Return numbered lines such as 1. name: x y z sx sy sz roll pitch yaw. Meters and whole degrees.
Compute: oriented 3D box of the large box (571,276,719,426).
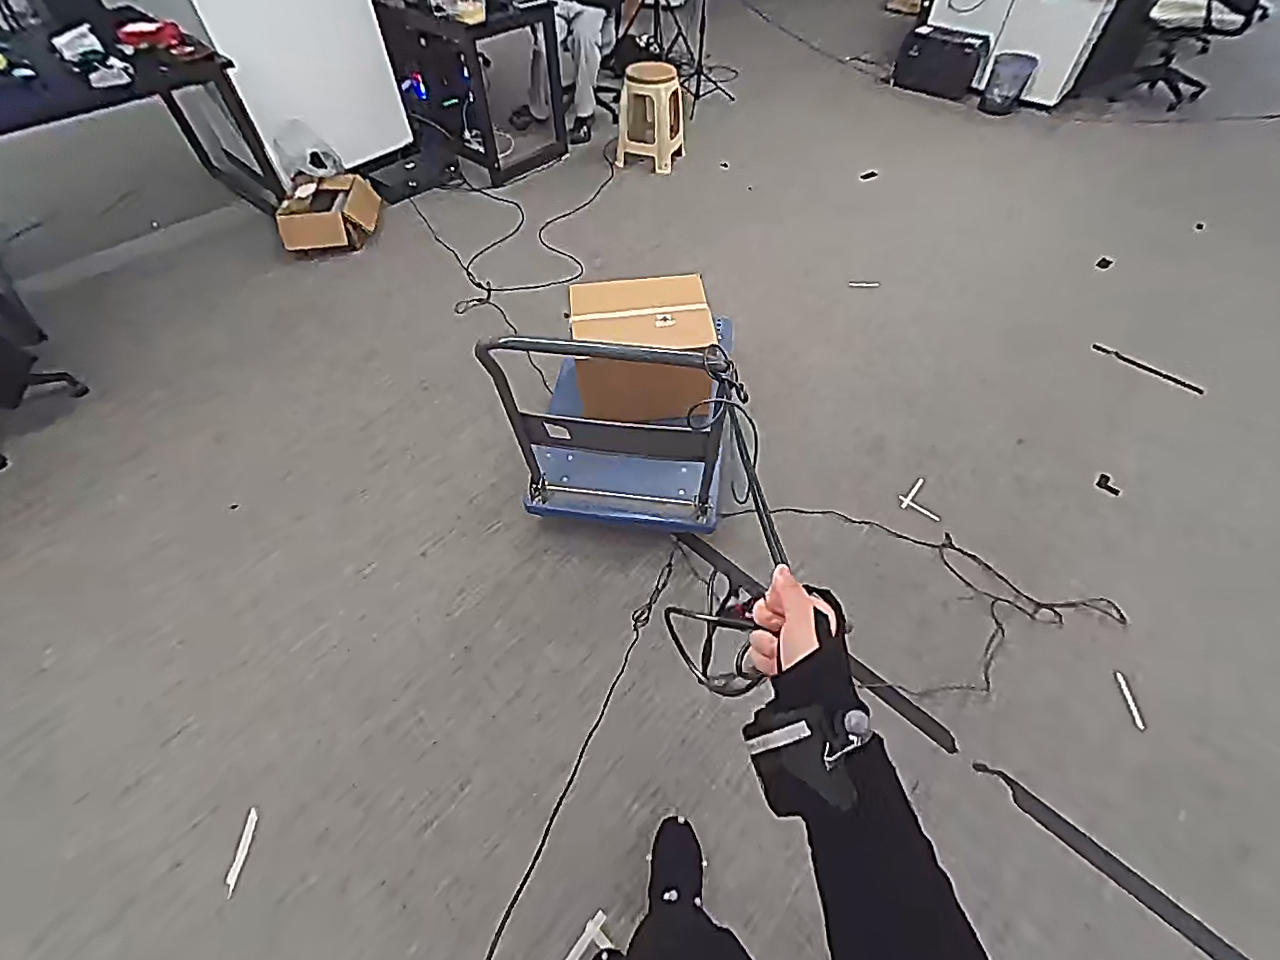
1. large box: 0.006 -0.396 1.687 0.408 0.320 0.320 -5 59 -3
